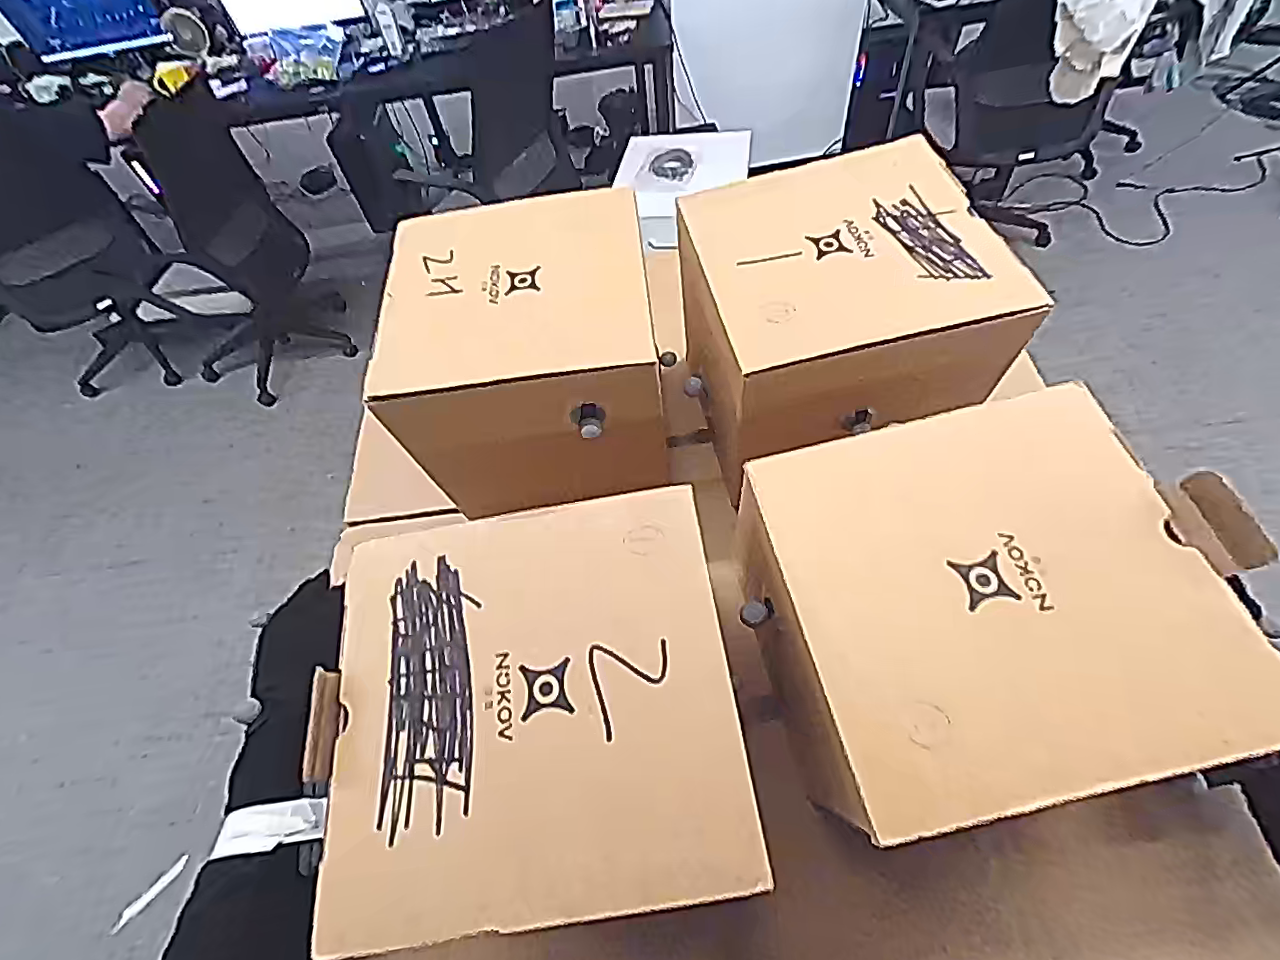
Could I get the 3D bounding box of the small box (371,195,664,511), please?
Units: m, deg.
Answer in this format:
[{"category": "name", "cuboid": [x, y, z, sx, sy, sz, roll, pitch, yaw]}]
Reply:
[{"category": "small box", "cuboid": [-0.074, -0.089, 0.431, 0.179, 0.176, 0.168, -7, 60, 4]}]
